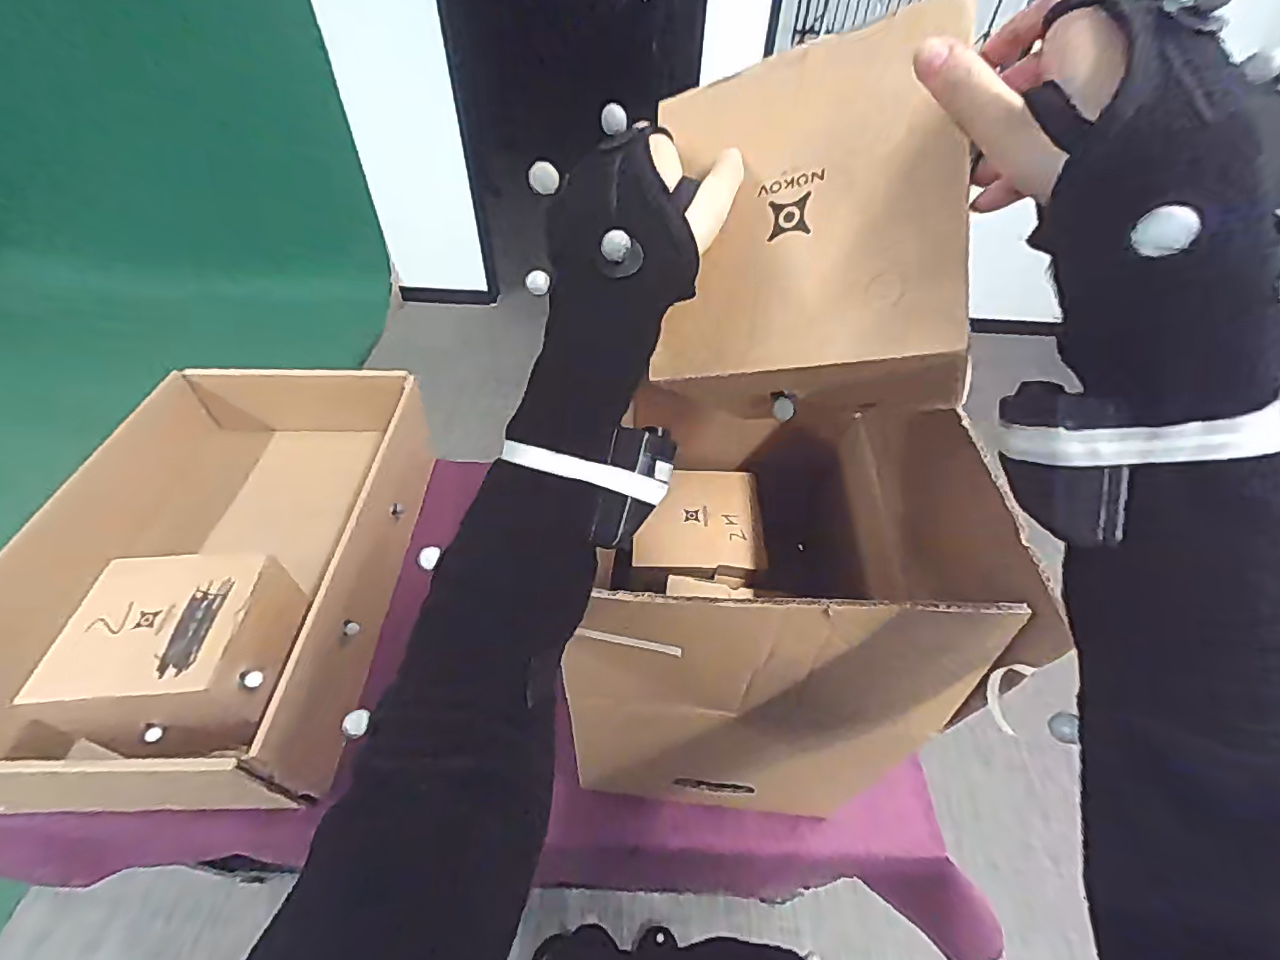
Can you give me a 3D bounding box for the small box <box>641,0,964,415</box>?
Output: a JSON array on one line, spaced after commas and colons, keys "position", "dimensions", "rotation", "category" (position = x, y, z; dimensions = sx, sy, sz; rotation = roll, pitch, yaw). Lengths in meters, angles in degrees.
[{"position": [0.114, -0.138, 0.353], "dimensions": [0.168, 0.179, 0.176], "rotation": [0, -3, 31], "category": "small box"}]
